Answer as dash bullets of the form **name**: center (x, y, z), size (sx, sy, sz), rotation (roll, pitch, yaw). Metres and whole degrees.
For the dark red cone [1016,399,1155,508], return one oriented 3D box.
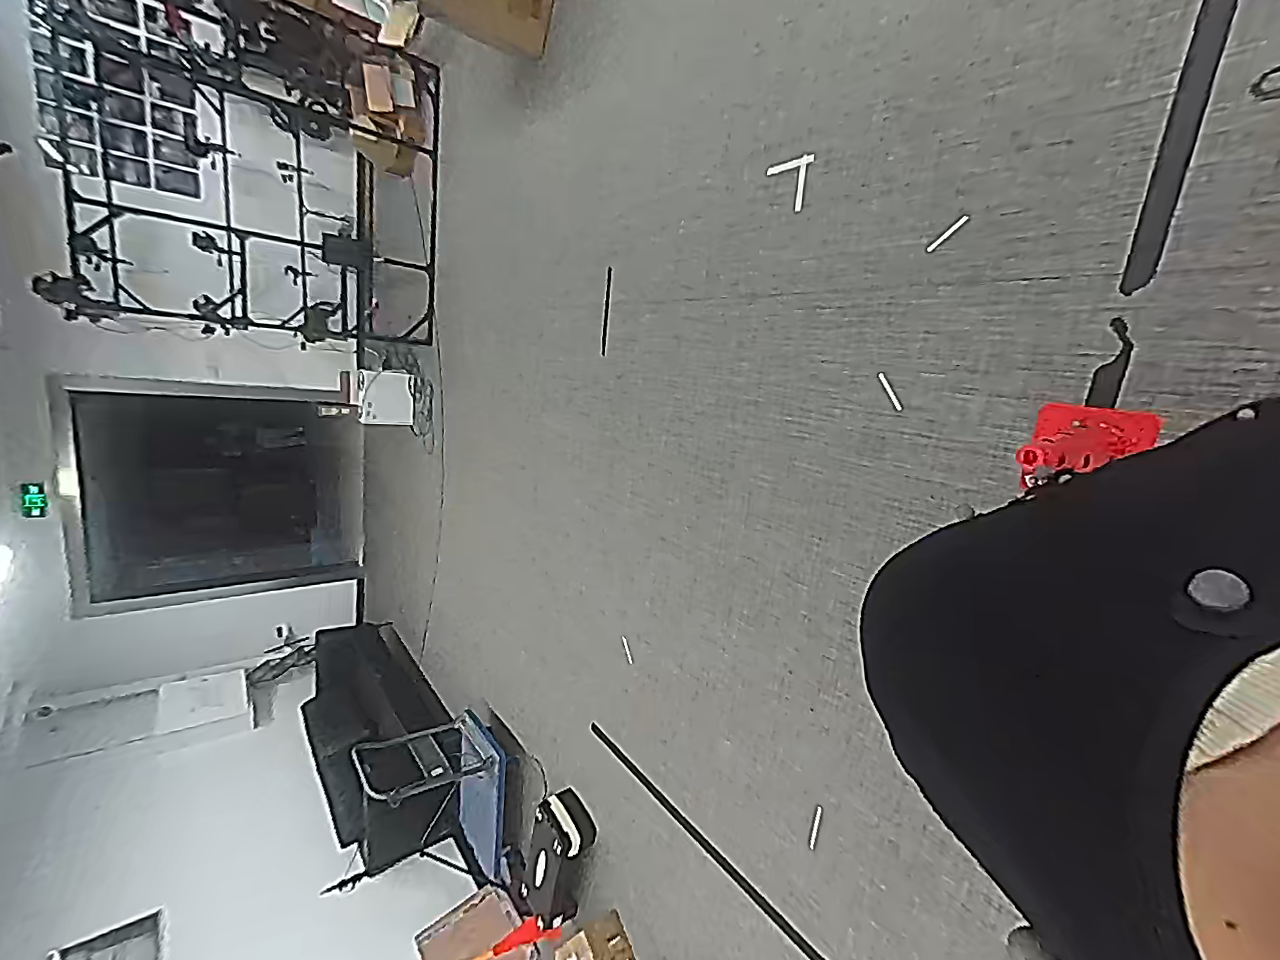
- **dark red cone**: center (0.777, -0.053, 1.000), size (0.201, 0.394, 0.202), rotation (19, 107, 48)
